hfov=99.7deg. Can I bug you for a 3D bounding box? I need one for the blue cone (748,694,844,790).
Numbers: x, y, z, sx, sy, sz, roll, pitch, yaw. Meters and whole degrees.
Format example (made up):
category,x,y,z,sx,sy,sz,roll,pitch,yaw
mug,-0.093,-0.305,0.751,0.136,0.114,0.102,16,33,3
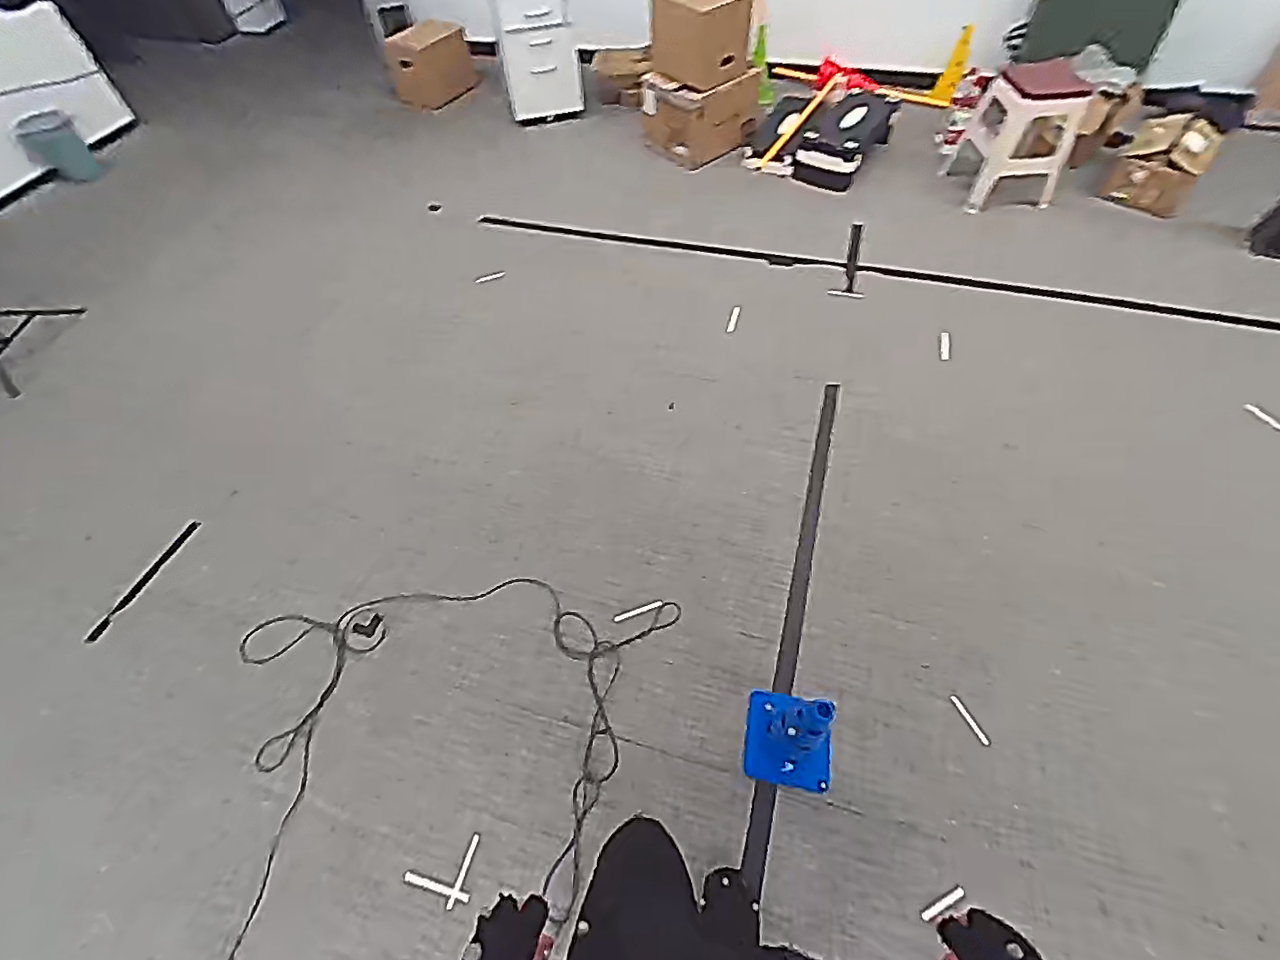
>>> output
category,x,y,z,sx,sy,sz,roll,pitch,yaw
blue cone,0.359,0.535,1.168,0.192,0.380,0.193,11,57,8
